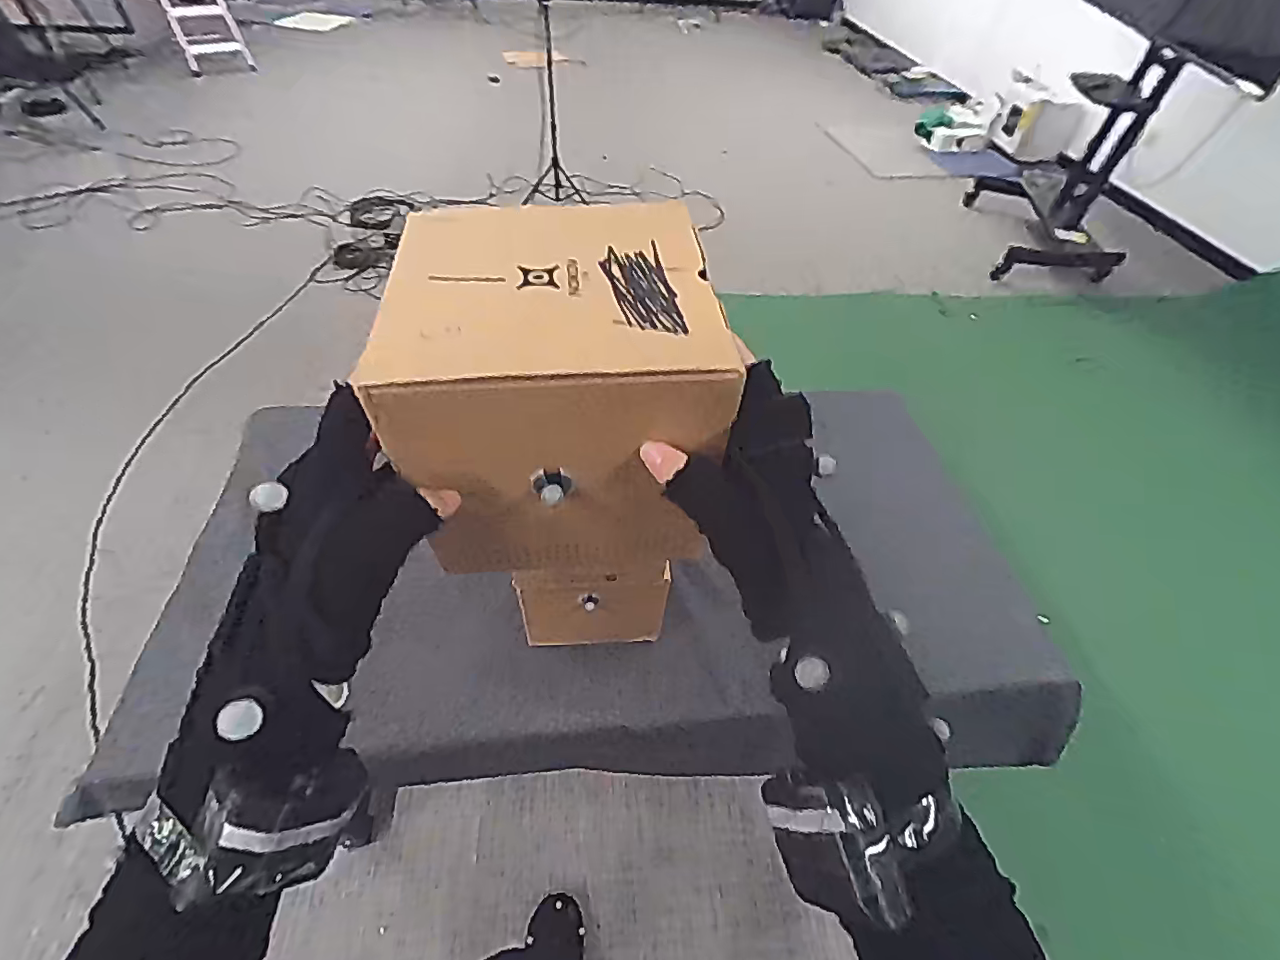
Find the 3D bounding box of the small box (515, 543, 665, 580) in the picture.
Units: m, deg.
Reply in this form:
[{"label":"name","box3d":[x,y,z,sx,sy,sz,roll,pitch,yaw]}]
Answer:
[{"label":"small box","box3d":[-0.057,0.002,0.606,0.168,0.176,0.179,-1,51,-5]}]

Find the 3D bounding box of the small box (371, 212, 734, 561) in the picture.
[{"label":"small box","box3d":[-0.050,-0.059,0.369,0.179,0.176,0.168,-4,51,-5]}]

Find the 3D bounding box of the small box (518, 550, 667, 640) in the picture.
[{"label":"small box","box3d":[-0.064,0.106,0.733,0.179,0.176,0.168,-1,50,-6]}]
